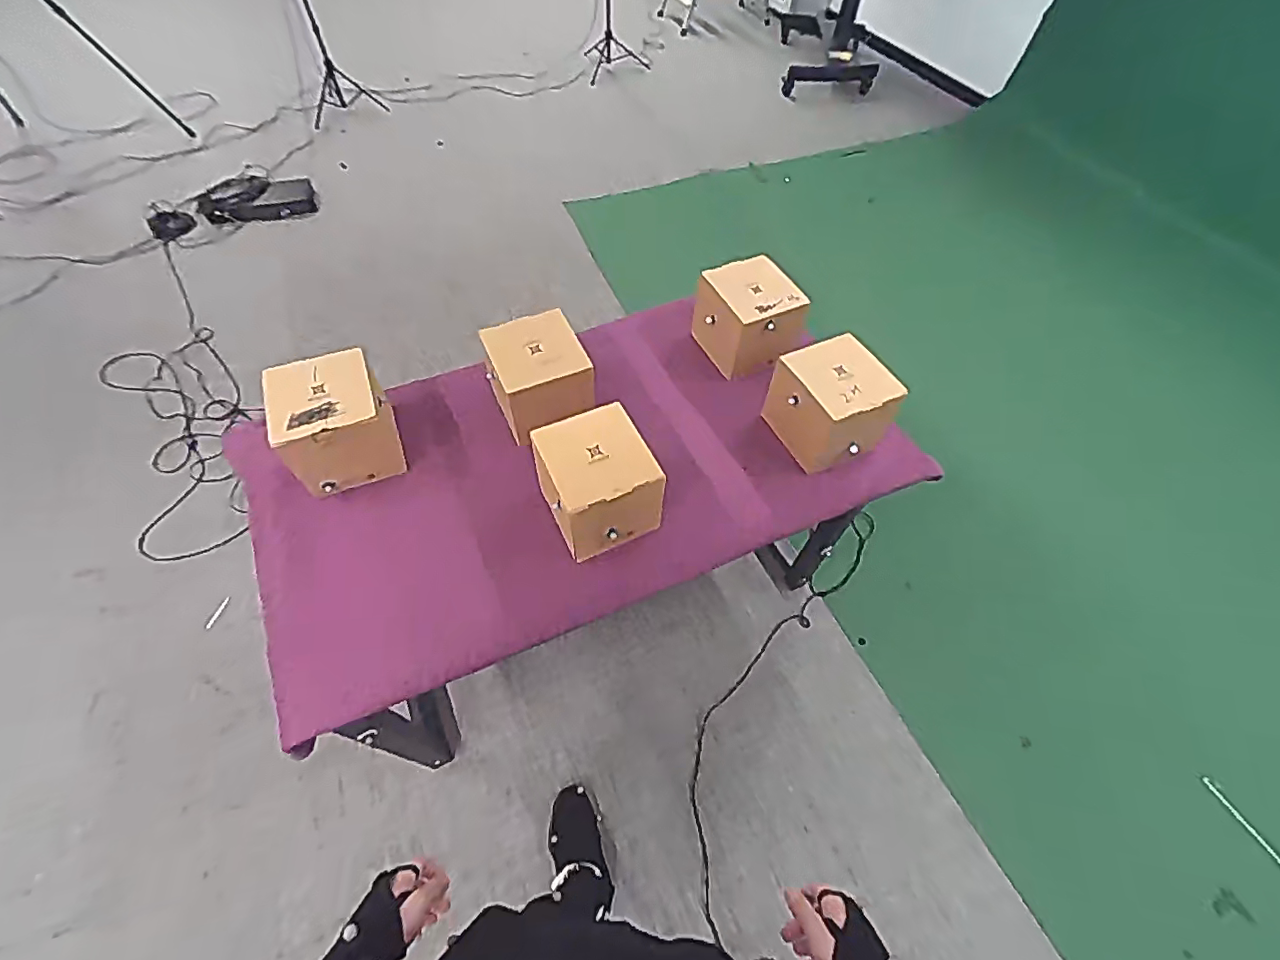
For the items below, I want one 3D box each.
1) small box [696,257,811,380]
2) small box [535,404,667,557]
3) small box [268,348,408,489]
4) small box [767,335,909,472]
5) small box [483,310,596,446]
[{"bbox_3d":[0.237,-0.350,1.183,0.168,0.176,0.179,-22,60,-15],"label":"small box"},{"bbox_3d":[-0.070,0.003,0.936,0.168,0.176,0.179,-21,60,-16],"label":"small box"},{"bbox_3d":[-0.538,-0.103,0.978,0.168,0.176,0.179,-18,60,-15],"label":"small box"},{"bbox_3d":[0.369,-0.146,1.050,0.168,0.176,0.179,-20,59,-14],"label":"small box"},{"bbox_3d":[-0.193,-0.198,1.064,0.168,0.176,0.179,-21,61,-15],"label":"small box"}]
